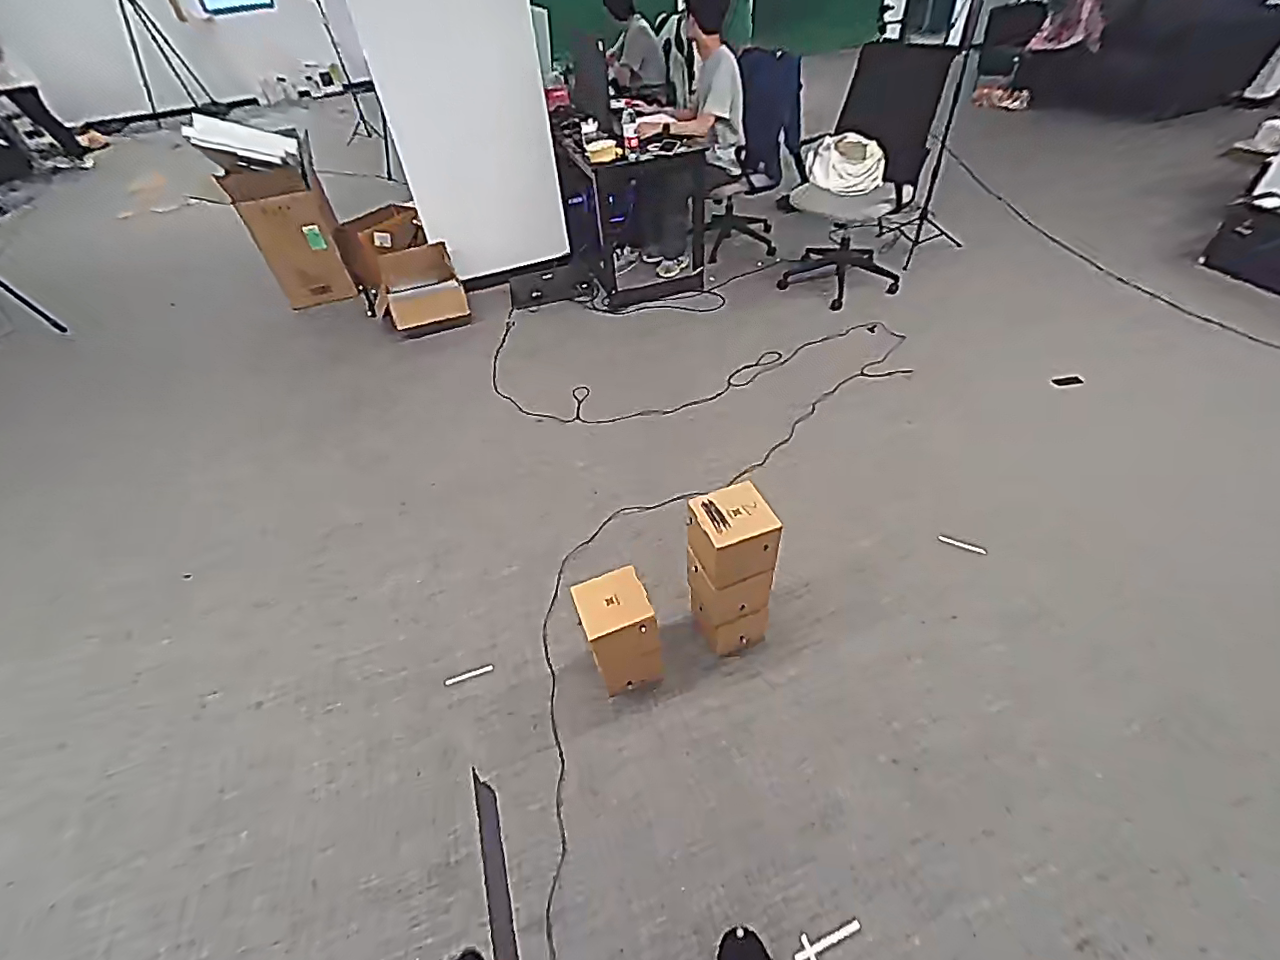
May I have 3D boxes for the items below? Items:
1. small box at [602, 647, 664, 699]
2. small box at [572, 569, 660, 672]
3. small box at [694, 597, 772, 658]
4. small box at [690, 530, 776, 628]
[{"bbox_3d":[-0.038,0.480,1.520,0.168,0.176,0.179,-16,47,-9],"label":"small box"},{"bbox_3d":[-0.059,0.369,1.403,0.179,0.176,0.168,-19,46,-12],"label":"small box"},{"bbox_3d":[0.262,0.384,1.579,0.168,0.176,0.179,-19,47,-12],"label":"small box"},{"bbox_3d":[0.243,0.269,1.463,0.179,0.176,0.168,-18,46,-13],"label":"small box"}]
